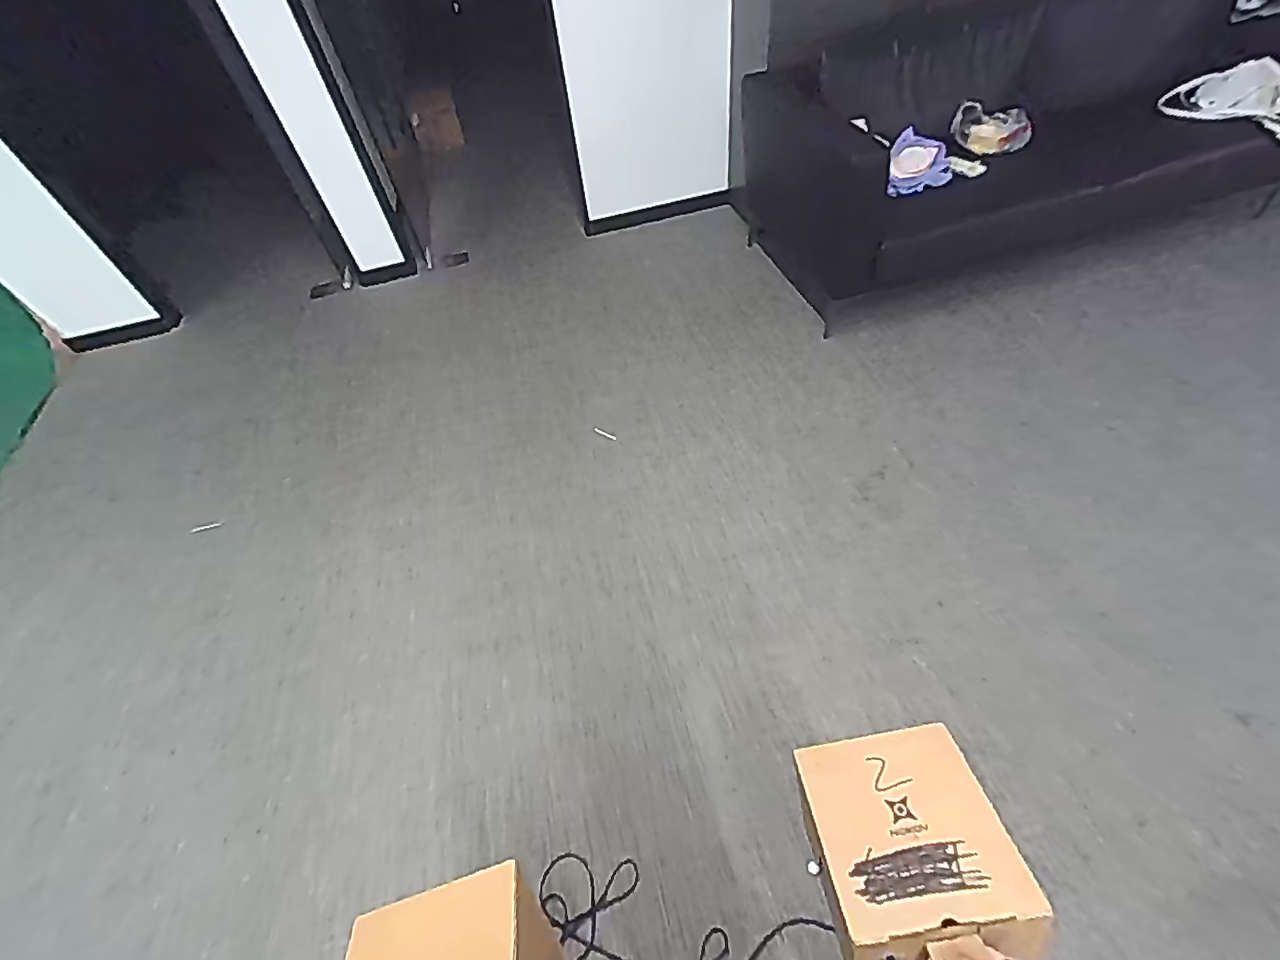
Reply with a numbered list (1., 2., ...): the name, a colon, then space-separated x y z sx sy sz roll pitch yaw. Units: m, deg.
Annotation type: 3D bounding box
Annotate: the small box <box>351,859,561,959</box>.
1. small box: -0.169 0.519 0.511 0.168 0.176 0.179 -17 24 -5
